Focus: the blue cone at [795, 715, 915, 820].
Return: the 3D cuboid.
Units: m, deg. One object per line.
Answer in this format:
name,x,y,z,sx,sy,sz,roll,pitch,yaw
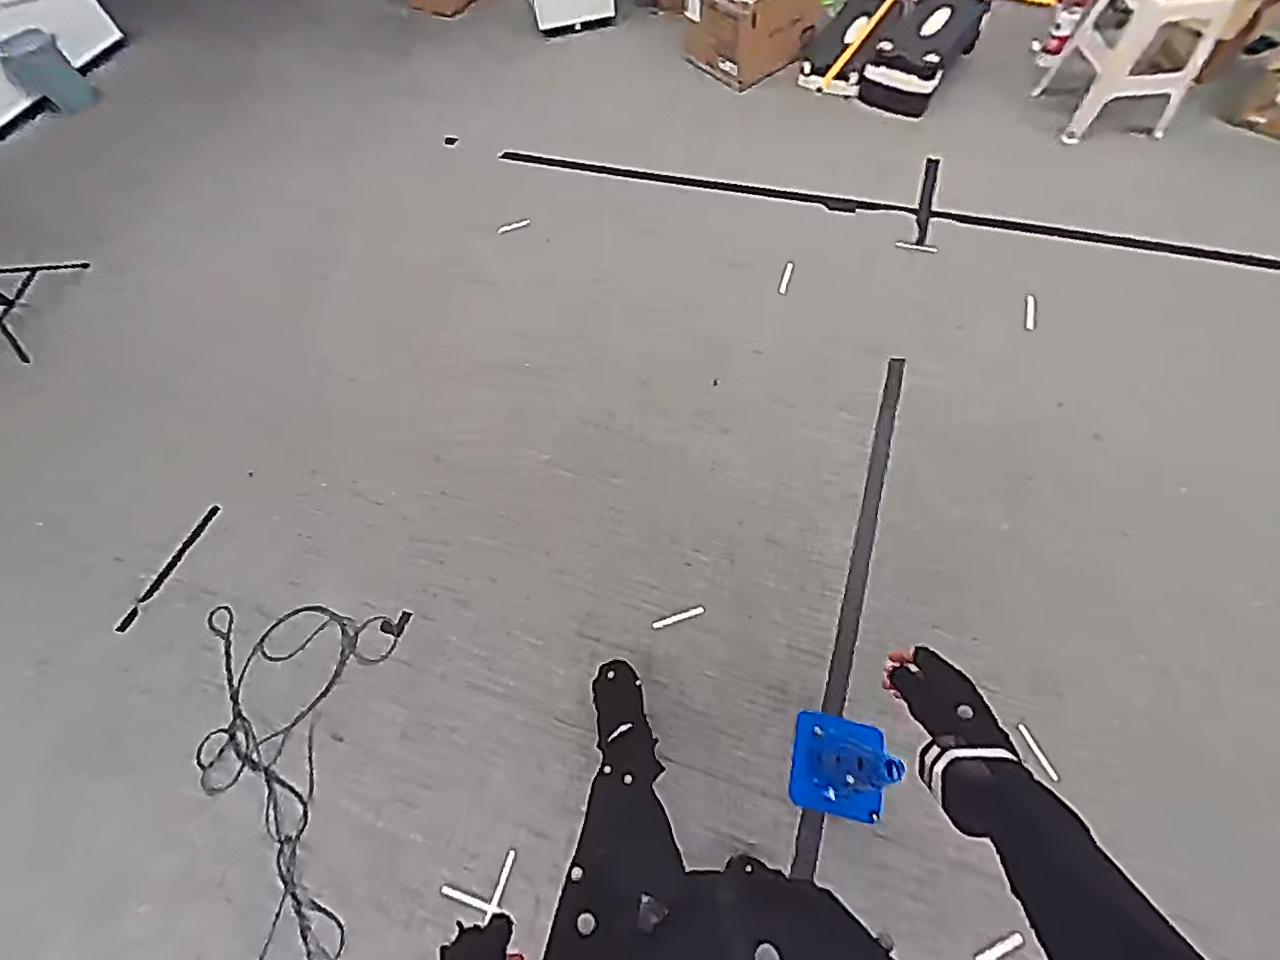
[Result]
blue cone,0.446,0.573,1.080,0.192,0.380,0.193,13,65,9
